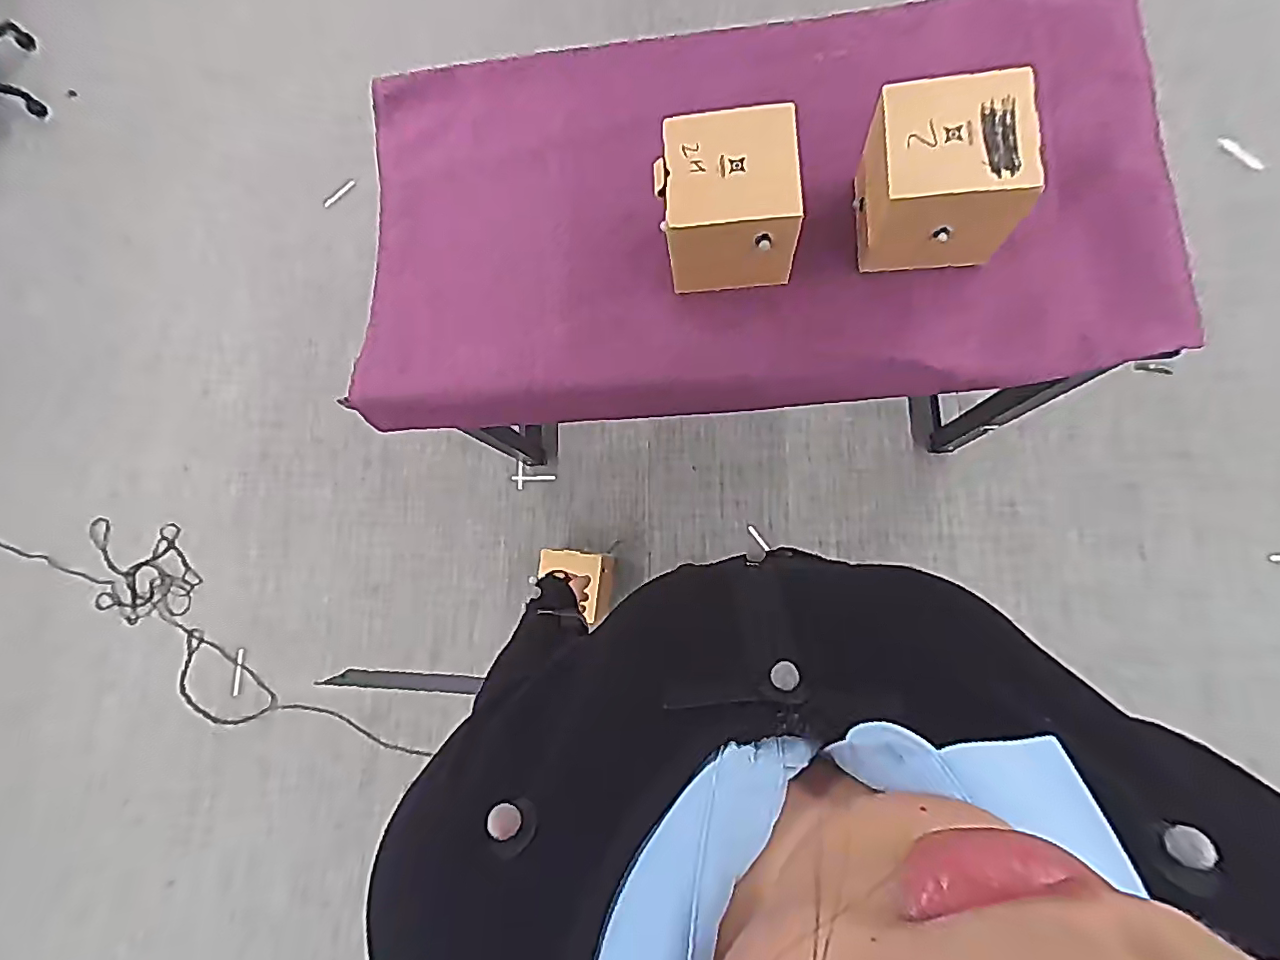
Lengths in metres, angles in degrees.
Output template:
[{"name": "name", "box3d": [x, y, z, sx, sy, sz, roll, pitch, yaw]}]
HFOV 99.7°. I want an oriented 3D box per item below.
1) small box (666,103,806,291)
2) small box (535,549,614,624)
[{"name": "small box", "box3d": [0.132, -0.393, 0.779, 0.179, 0.176, 0.168, -3, 80, 8]}, {"name": "small box", "box3d": [-0.170, 0.284, 1.465, 0.168, 0.176, 0.179, 5, 82, 9]}]
